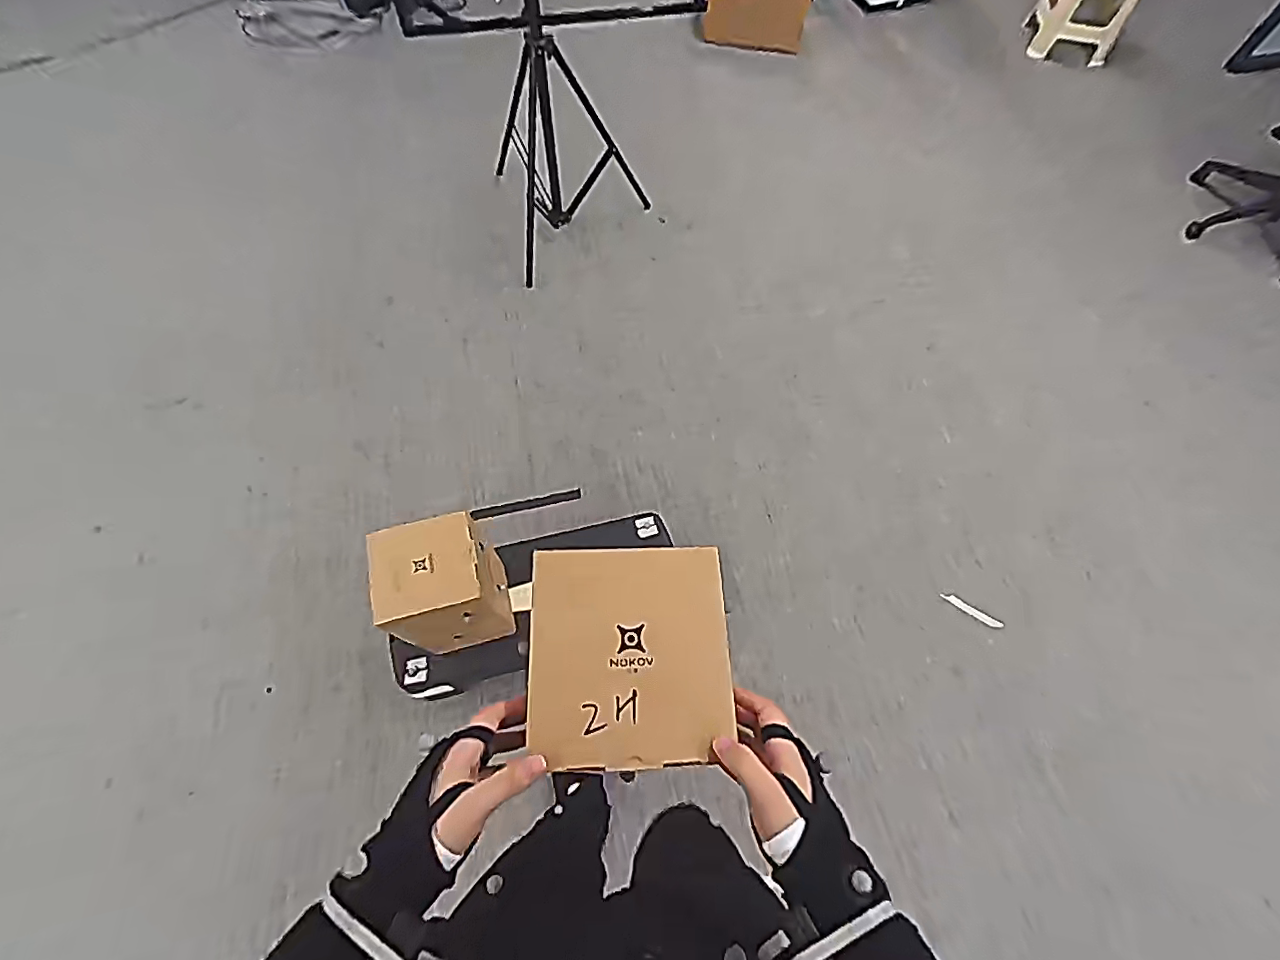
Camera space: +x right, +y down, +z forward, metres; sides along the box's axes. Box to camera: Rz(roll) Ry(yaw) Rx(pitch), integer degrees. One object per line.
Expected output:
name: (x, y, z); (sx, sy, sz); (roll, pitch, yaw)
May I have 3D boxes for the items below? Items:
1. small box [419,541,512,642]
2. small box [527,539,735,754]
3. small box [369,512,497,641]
small box: (-0.375, 0.250, 1.140); (0.179, 0.176, 0.168); (-14, 66, -8)
small box: (-0.013, 0.167, 0.527); (0.168, 0.176, 0.179); (0, 65, -4)
small box: (-0.369, 0.181, 0.992); (0.179, 0.176, 0.168); (-15, 65, -9)
